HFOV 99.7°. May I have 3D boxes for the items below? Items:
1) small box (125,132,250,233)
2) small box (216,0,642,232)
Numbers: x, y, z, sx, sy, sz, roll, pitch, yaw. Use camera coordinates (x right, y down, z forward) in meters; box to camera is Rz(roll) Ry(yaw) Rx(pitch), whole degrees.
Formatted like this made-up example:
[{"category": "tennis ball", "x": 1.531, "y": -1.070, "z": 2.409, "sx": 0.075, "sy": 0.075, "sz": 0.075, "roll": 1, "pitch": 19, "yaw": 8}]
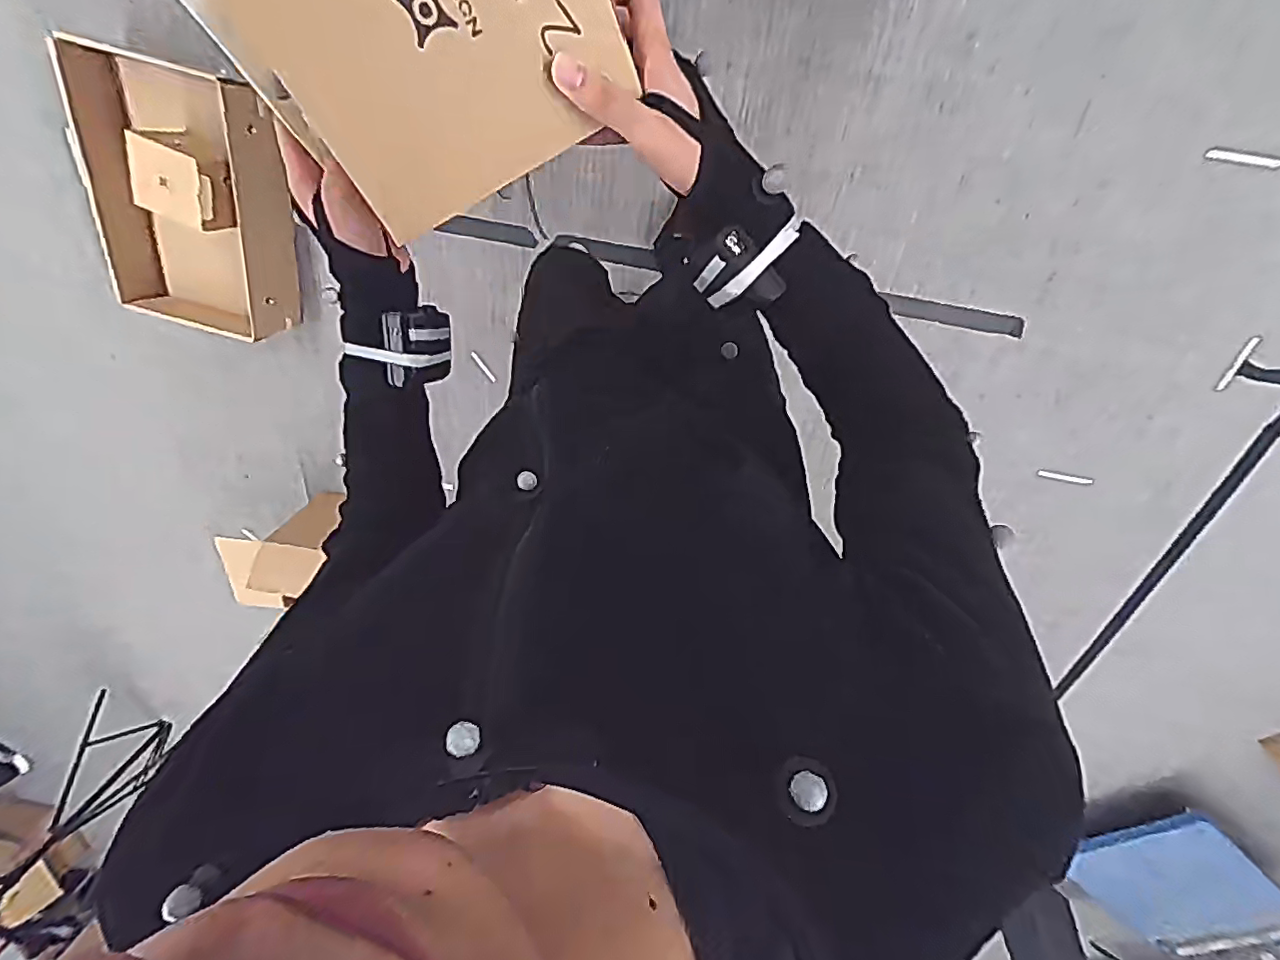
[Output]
[{"category": "small box", "x": -1.111, "y": -0.743, "z": 1.347, "sx": 0.179, "sy": 0.176, "sz": 0.168, "roll": 22, "pitch": 122, "yaw": -5}, {"category": "small box", "x": -0.129, "y": -0.278, "z": 0.317, "sx": 0.179, "sy": 0.176, "sz": 0.168, "roll": -32, "pitch": 133, "yaw": -3}]
